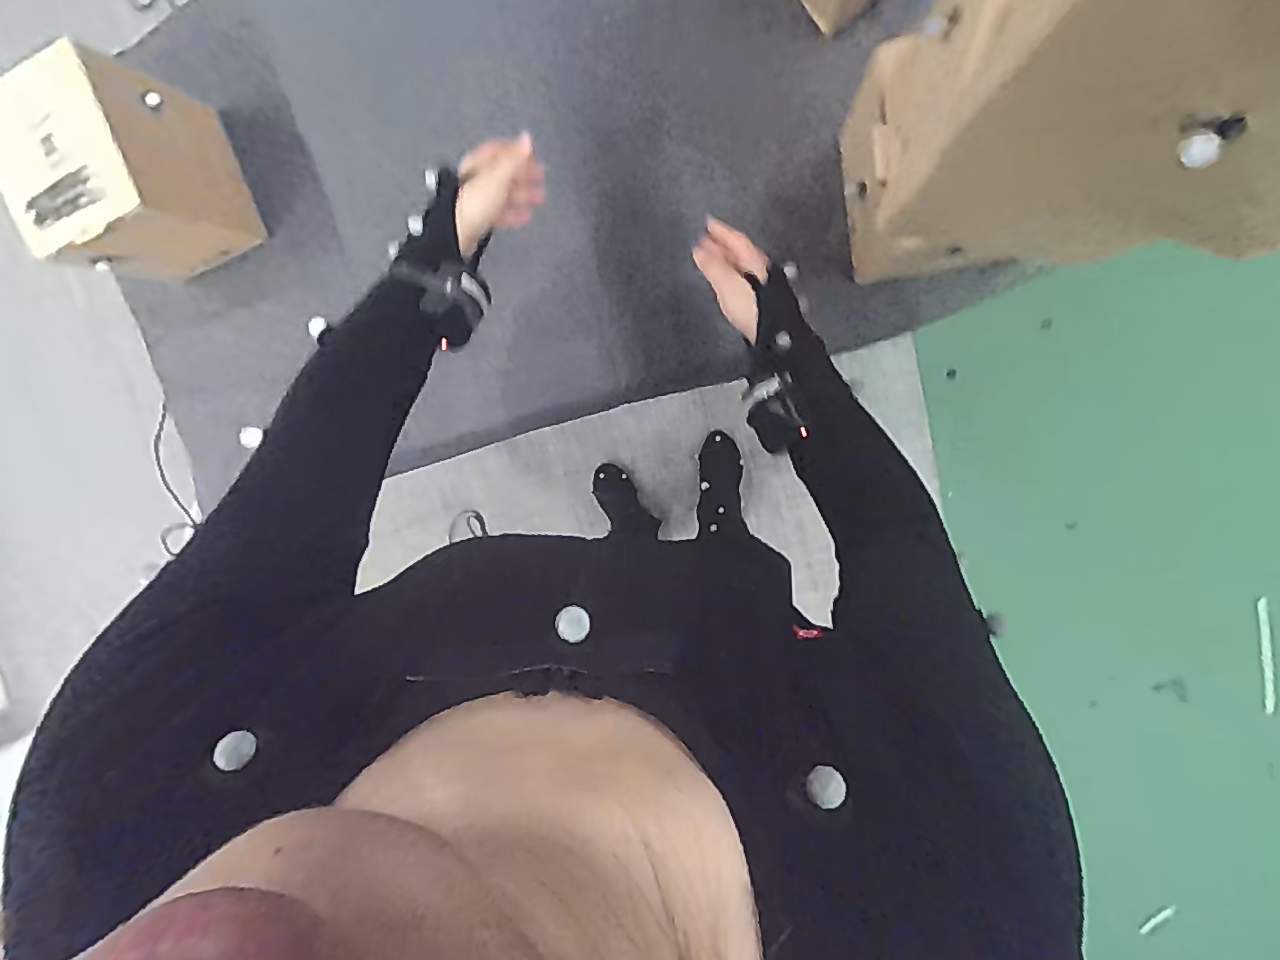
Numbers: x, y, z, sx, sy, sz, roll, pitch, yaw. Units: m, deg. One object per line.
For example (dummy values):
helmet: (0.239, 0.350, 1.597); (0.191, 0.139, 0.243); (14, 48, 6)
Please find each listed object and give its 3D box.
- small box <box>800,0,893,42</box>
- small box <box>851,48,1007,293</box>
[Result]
small box: (0.209, -0.561, 0.484); (0.168, 0.176, 0.179); (-36, 96, 17)
small box: (0.310, -0.290, 0.521); (0.179, 0.176, 0.168); (-7, 98, 12)
